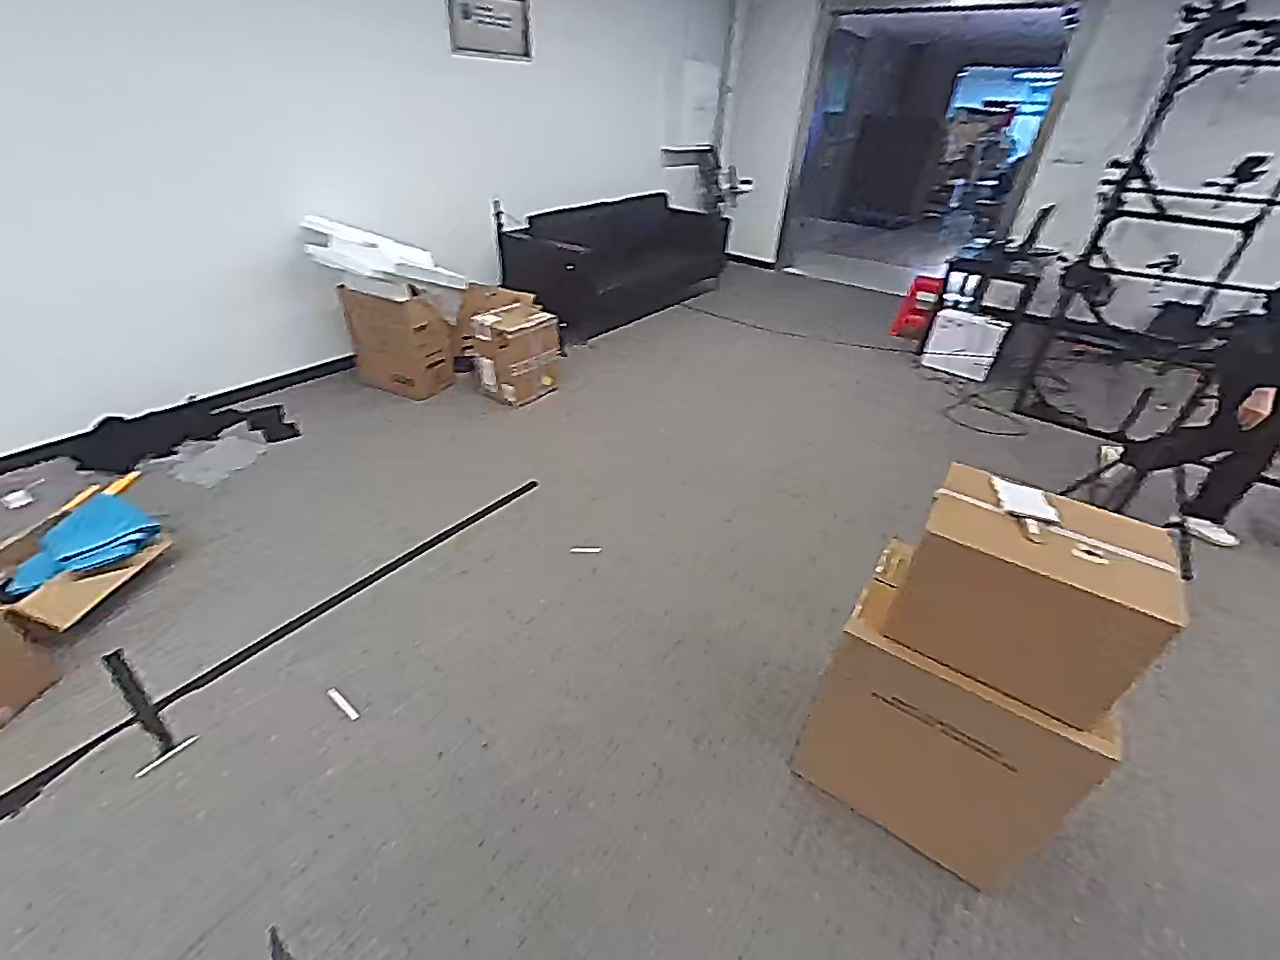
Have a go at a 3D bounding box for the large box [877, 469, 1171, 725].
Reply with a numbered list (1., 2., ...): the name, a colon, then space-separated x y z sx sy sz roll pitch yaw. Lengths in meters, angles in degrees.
1. large box: 0.789 0.231 1.169 0.408 0.320 0.320 24 40 26
